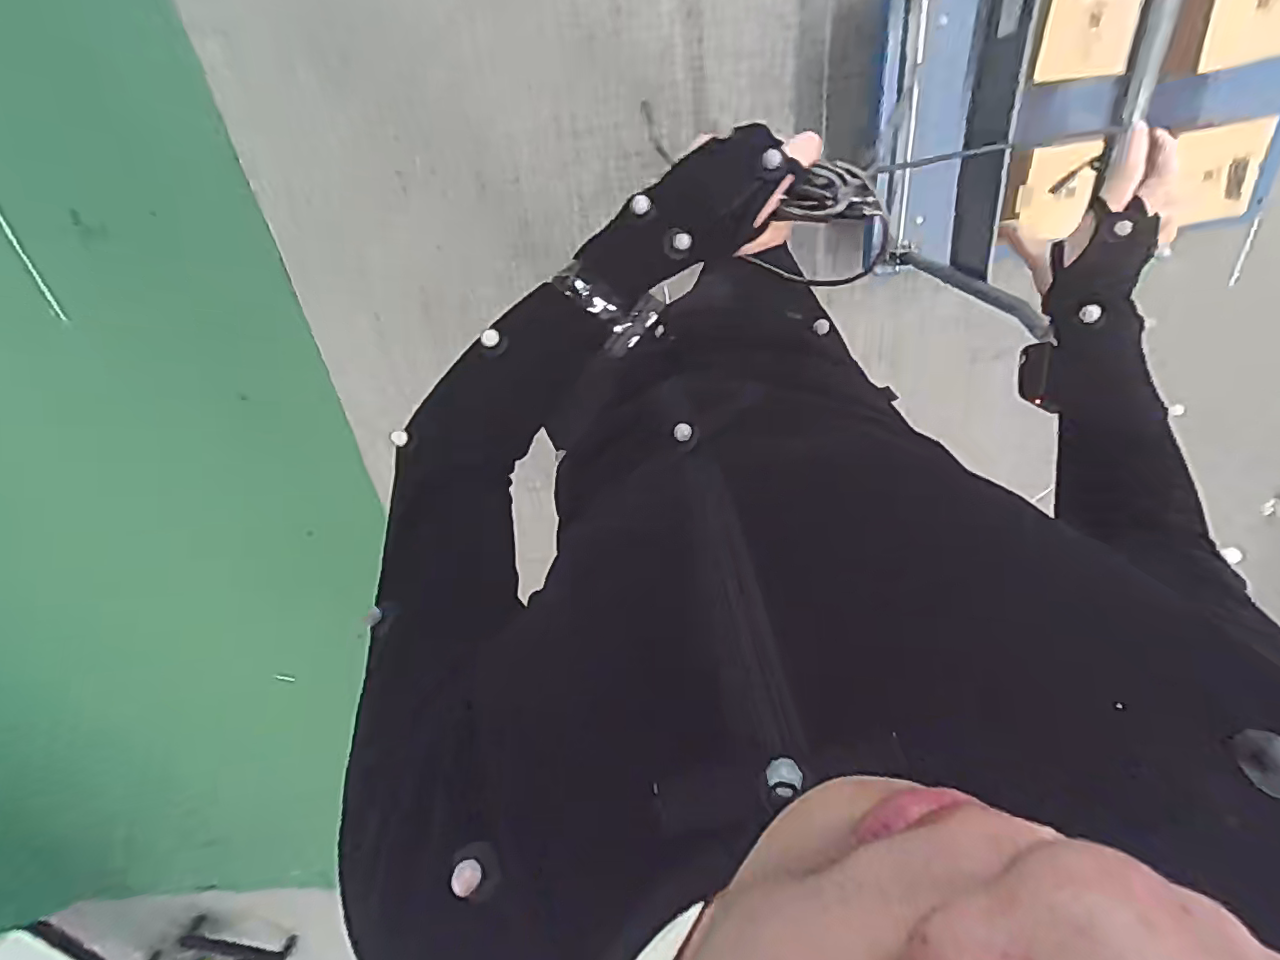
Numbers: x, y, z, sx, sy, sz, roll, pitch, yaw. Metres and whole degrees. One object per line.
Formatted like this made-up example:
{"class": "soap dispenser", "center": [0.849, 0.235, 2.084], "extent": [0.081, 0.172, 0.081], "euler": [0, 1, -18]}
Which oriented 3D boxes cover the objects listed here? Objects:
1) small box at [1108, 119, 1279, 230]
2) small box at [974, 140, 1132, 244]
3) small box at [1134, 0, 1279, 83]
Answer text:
{"class": "small box", "center": [1.094, -0.616, 1.092], "extent": [0.179, 0.176, 0.168], "euler": [-8, 119, 6]}
{"class": "small box", "center": [0.831, -0.593, 1.109], "extent": [0.179, 0.176, 0.168], "euler": [-5, 120, 4]}
{"class": "small box", "center": [1.049, -0.834, 0.965], "extent": [0.179, 0.176, 0.168], "euler": [-10, 120, 6]}
